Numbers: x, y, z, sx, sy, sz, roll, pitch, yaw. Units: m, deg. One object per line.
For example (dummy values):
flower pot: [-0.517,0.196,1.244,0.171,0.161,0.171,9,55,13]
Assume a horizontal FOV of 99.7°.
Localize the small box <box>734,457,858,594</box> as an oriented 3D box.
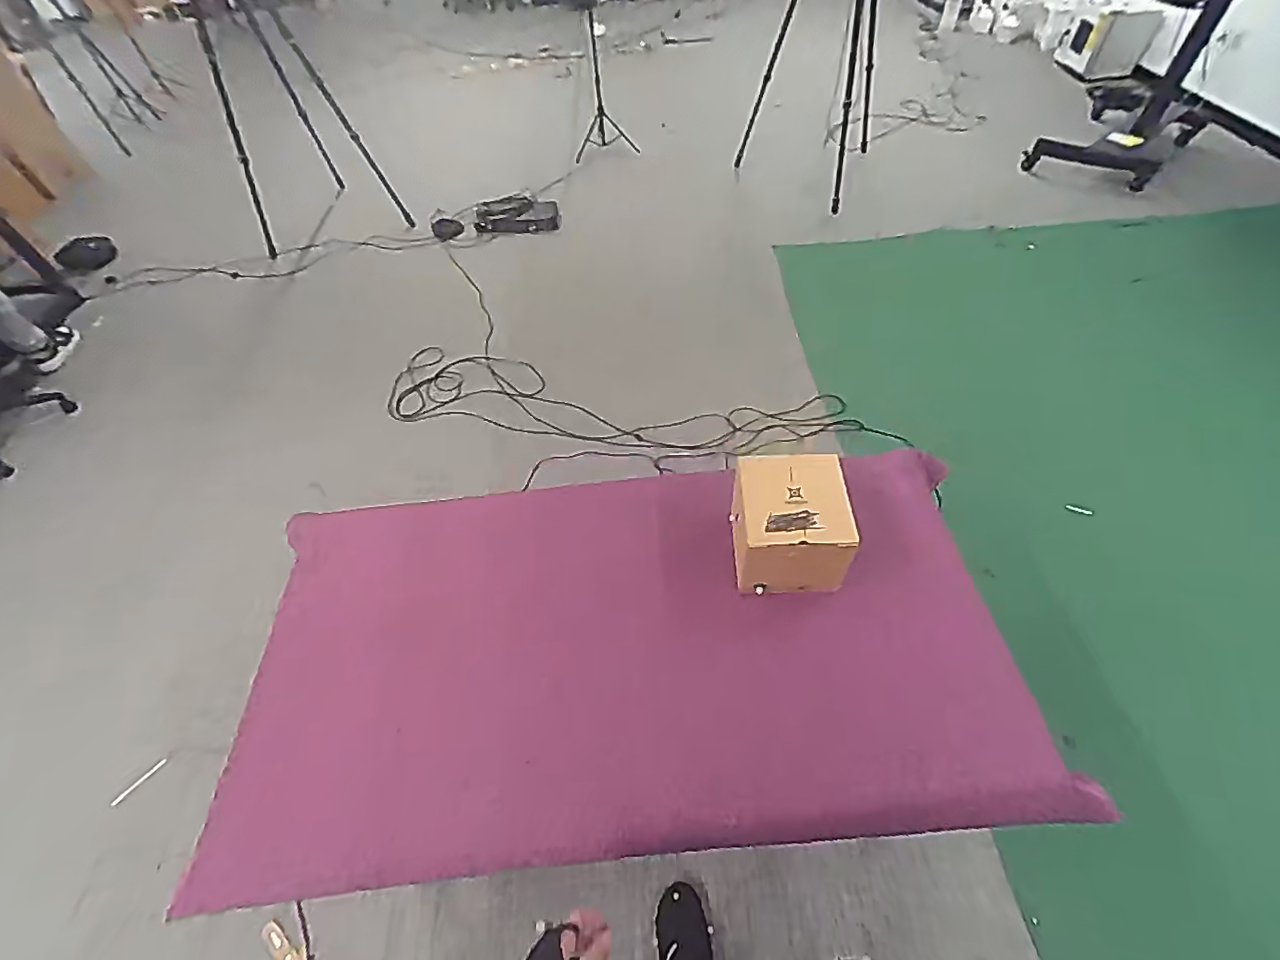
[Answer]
small box: [0.250,0.081,0.909,0.168,0.176,0.179,-1,52,4]
